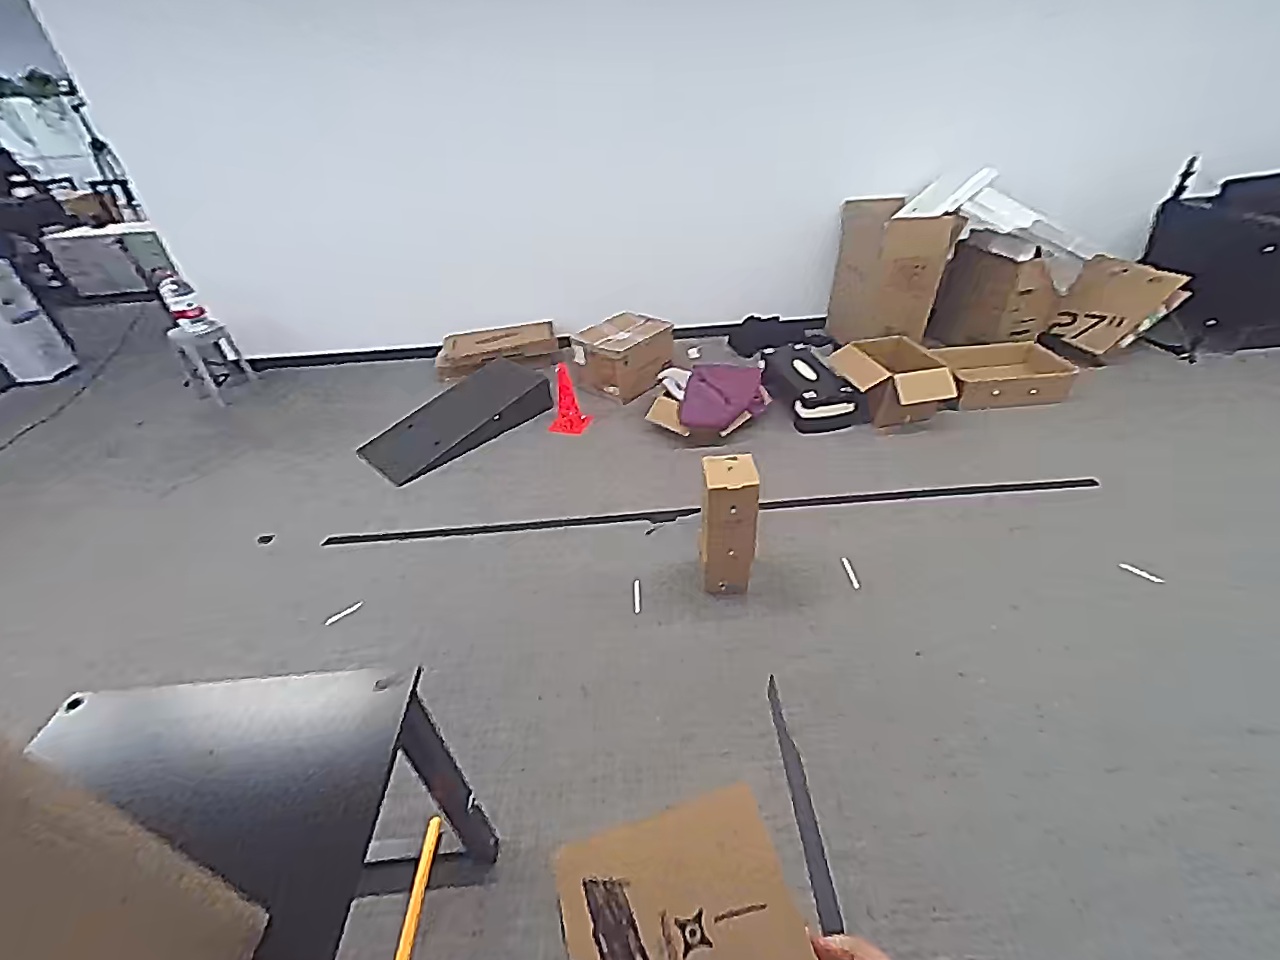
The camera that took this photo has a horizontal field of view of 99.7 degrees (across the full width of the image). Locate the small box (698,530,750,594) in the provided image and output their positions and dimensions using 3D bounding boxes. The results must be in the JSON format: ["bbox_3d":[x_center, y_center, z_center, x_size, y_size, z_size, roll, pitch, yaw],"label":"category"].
[{"bbox_3d":[0.302,0.298,1.991,0.168,0.176,0.179,-5,38,1],"label":"small box"}]

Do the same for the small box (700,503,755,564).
[{"bbox_3d":[0.300,0.171,1.886,0.168,0.176,0.179,-5,37,1],"label":"small box"}]

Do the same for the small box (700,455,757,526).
[{"bbox_3d":[0.289,0.041,1.786,0.168,0.176,0.179,-4,37,1],"label":"small box"}]

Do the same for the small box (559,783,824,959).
[{"bbox_3d":[0.048,0.392,0.450,0.179,0.176,0.168,-17,44,-6],"label":"small box"}]
